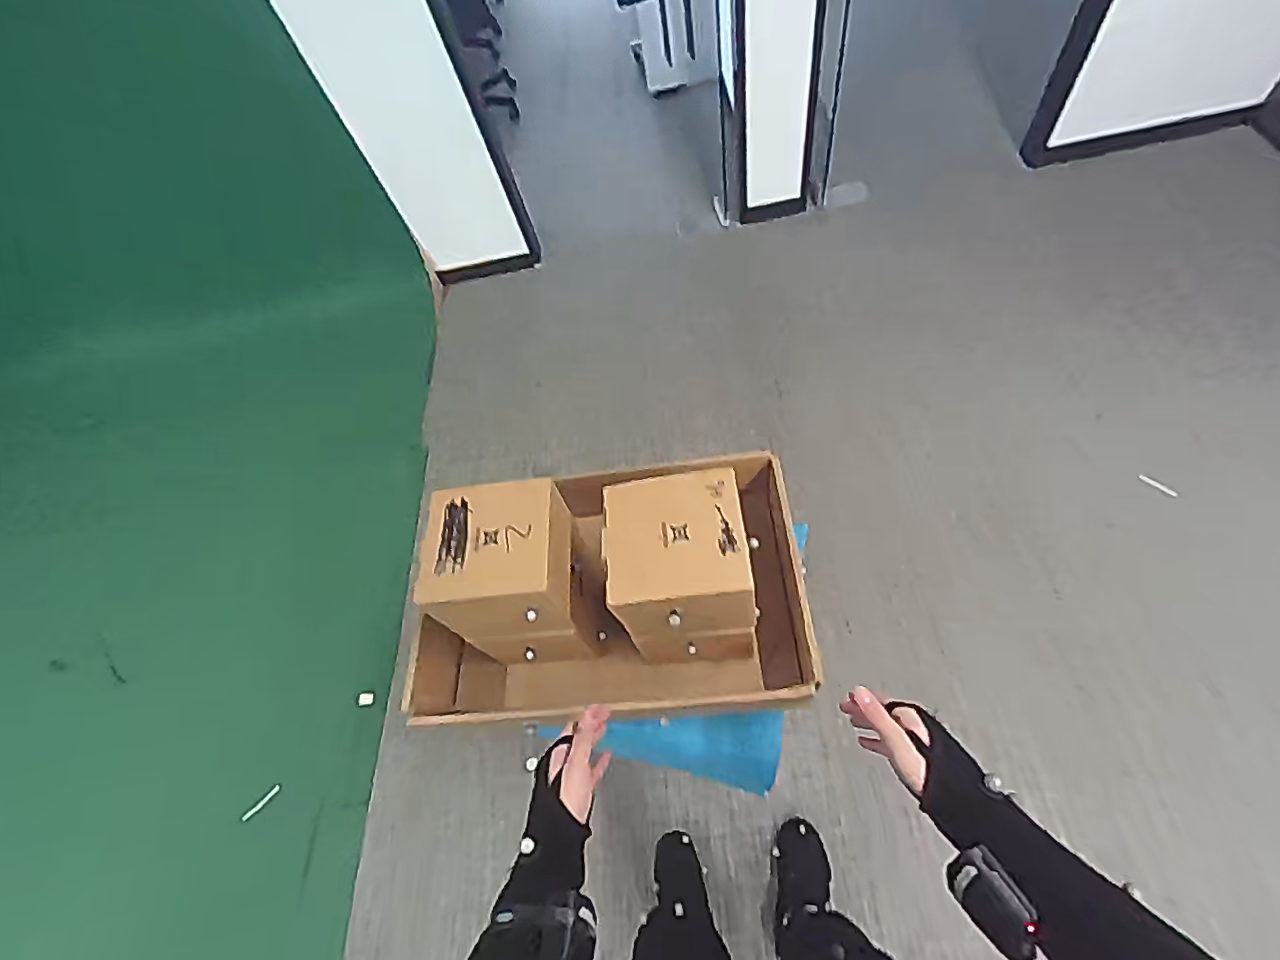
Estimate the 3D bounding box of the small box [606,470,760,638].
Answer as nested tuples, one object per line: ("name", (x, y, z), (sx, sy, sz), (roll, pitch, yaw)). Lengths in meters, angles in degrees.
("small box", (0.061, 0.109, 0.737), (0.179, 0.176, 0.168), (-9, 59, 10))
